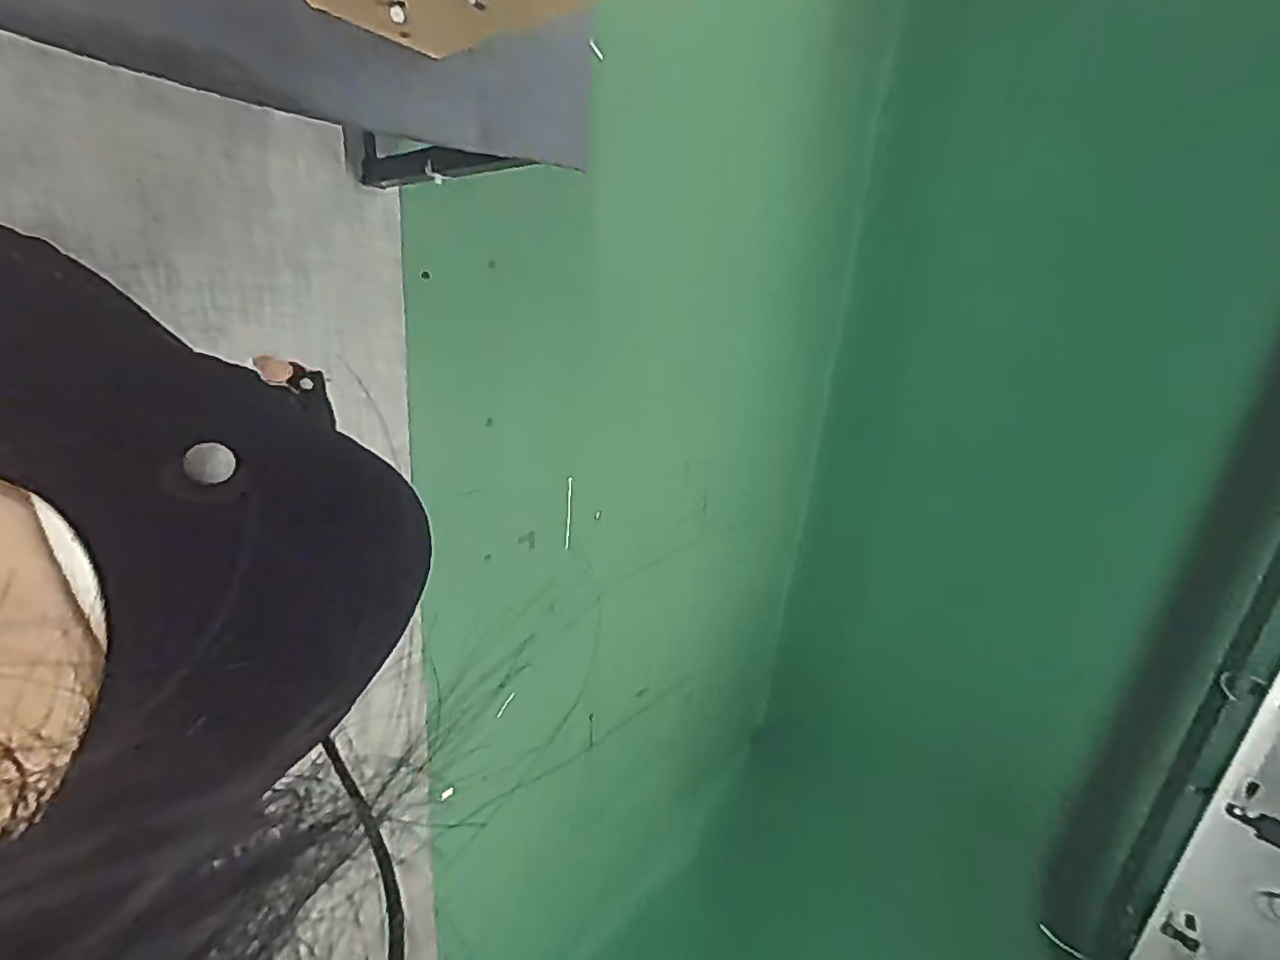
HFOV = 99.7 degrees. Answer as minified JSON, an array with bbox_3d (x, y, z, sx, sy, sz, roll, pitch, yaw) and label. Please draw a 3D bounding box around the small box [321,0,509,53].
[{"bbox_3d":[-0.258,-0.606,0.585,0.168,0.176,0.179,-17,117,-48],"label":"small box"}]
